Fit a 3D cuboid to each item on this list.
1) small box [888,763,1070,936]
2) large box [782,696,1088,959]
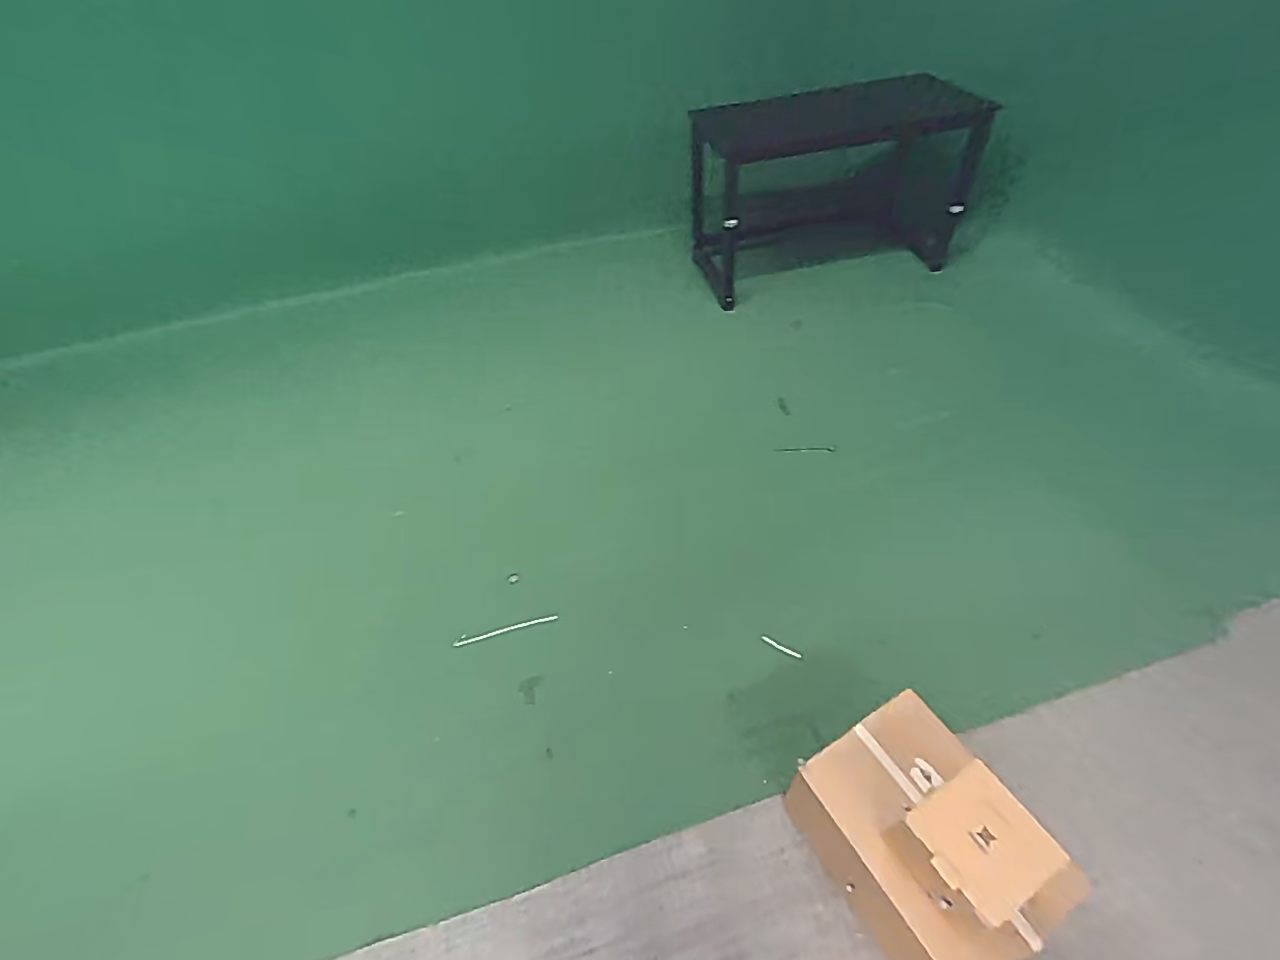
[{"bbox_3d":[0.538,0.611,0.891,0.179,0.176,0.168,-26,51,-15],"label":"small box"},{"bbox_3d":[0.549,0.744,1.102,0.320,0.320,0.408,-25,49,-17],"label":"large box"}]
